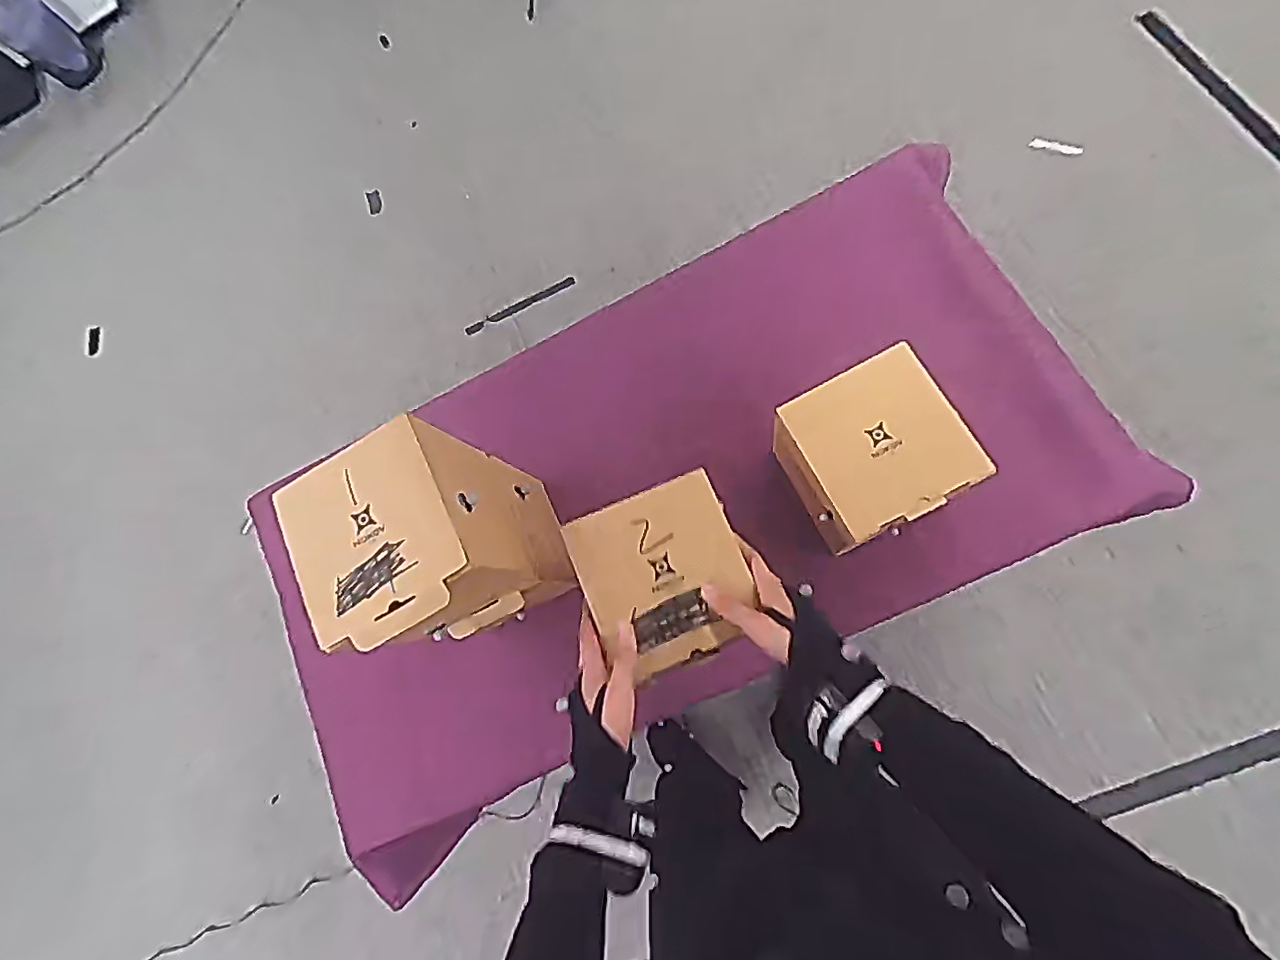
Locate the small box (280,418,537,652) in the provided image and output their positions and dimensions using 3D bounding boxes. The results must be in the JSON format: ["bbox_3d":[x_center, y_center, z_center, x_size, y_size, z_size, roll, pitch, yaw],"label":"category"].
[{"bbox_3d":[-0.239,0.065,0.593,0.168,0.176,0.179,-31,73,4],"label":"small box"}]

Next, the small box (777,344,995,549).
[{"bbox_3d":[0.283,-0.029,0.674,0.168,0.176,0.179,-28,74,5],"label":"small box"}]

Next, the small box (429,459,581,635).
[{"bbox_3d":[-0.204,0.099,0.750,0.168,0.176,0.179,-27,74,6],"label":"small box"}]
